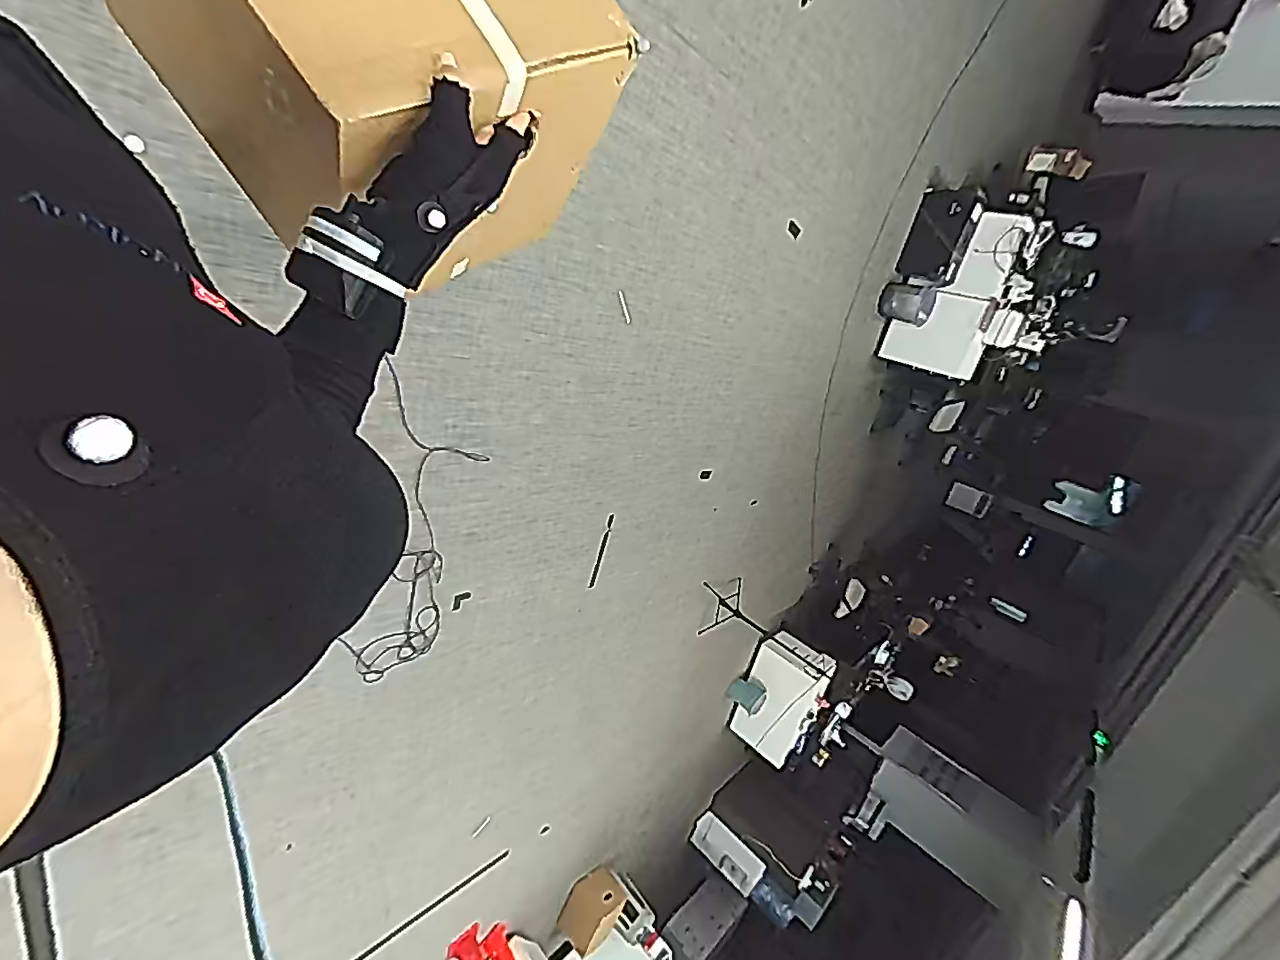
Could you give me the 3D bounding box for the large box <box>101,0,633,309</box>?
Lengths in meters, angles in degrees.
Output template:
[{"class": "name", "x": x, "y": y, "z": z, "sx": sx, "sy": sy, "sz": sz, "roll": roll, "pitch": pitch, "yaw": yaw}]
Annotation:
[{"class": "large box", "x": -0.292, "y": -0.466, "z": 0.553, "sx": 0.320, "sy": 0.320, "sz": 0.408, "roll": -40, "pitch": 99, "yaw": -28}]
